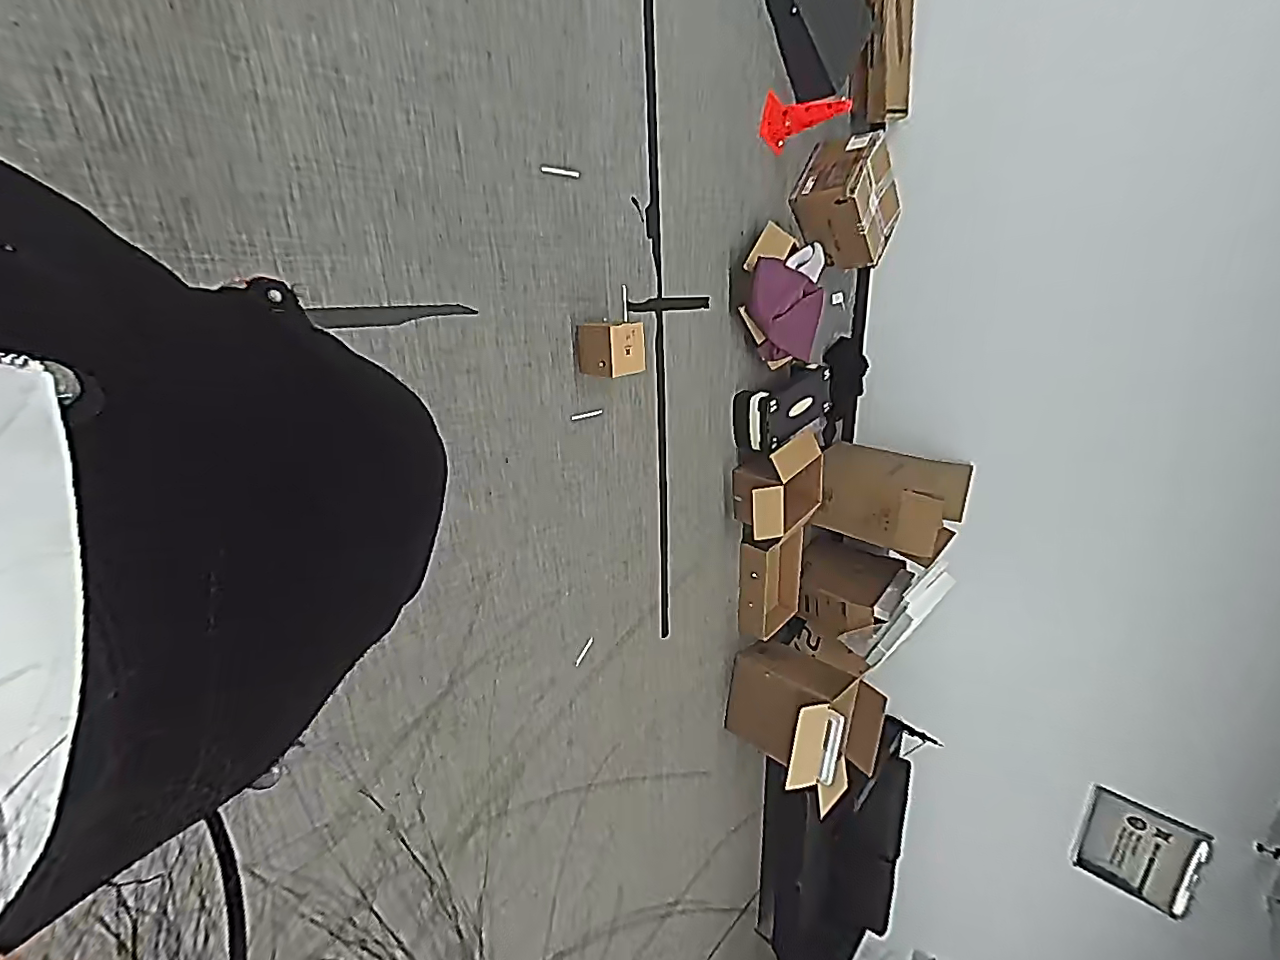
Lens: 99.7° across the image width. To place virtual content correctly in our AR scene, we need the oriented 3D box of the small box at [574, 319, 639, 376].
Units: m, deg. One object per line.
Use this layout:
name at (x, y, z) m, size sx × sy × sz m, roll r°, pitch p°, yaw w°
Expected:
small box at (-0.119, -0.478, 1.933) m, size 0.168 × 0.176 × 0.179 m, roll -23°, pitch 119°, yaw -42°
